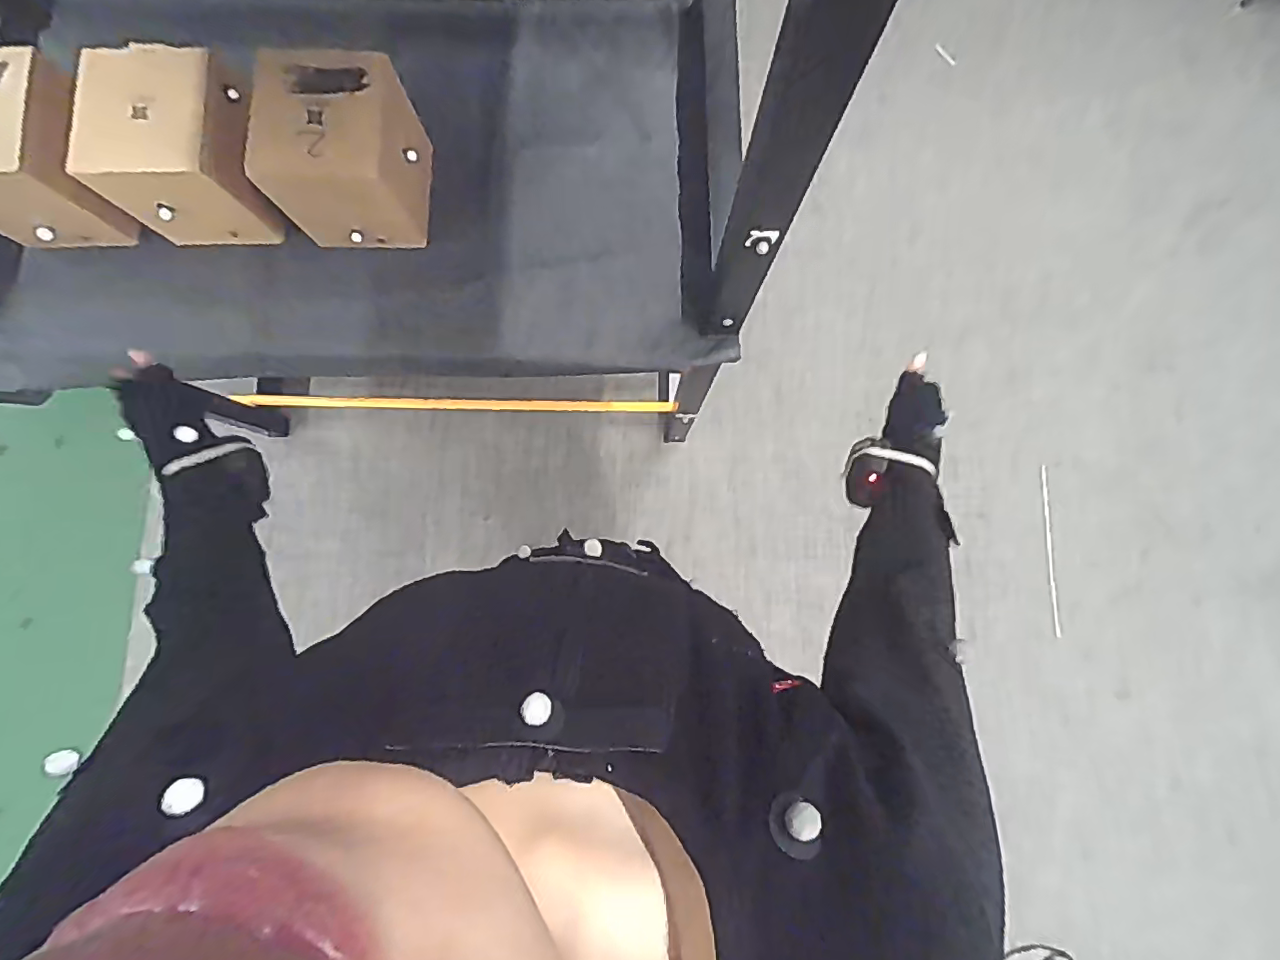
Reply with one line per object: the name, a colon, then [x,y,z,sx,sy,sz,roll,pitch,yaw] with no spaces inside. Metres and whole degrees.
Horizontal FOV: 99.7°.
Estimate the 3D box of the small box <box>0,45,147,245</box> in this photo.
small box: [-0.843,-0.455,0.753,0.168,0.176,0.179,-2,83,-1]
